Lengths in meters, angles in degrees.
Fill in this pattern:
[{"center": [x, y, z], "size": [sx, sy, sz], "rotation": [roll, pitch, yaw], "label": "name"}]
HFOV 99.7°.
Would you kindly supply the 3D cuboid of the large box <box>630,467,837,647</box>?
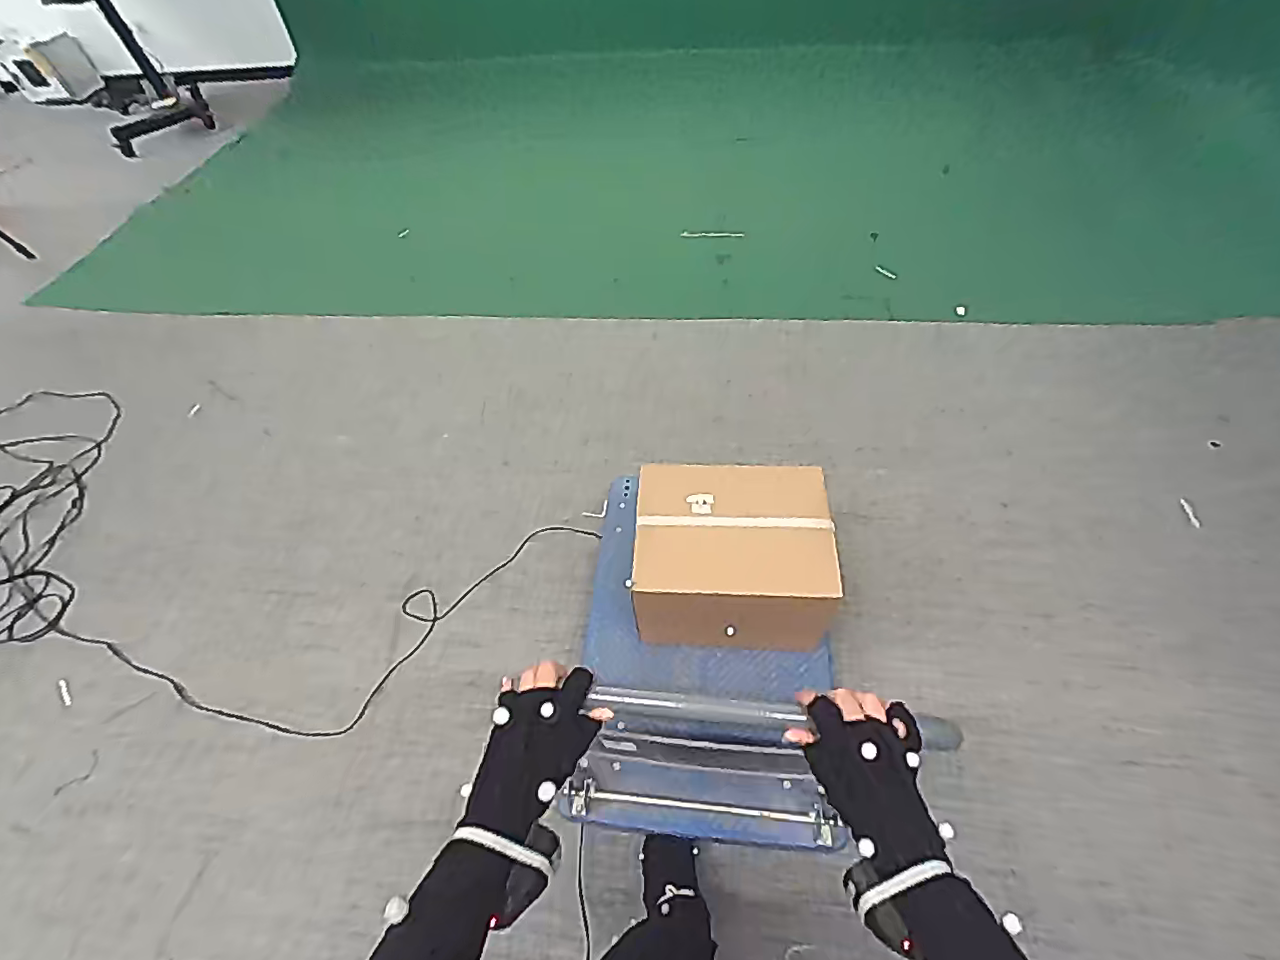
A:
[{"center": [0.200, 0.183, 1.246], "size": [0.408, 0.320, 0.320], "rotation": [0, 53, 6], "label": "large box"}]
